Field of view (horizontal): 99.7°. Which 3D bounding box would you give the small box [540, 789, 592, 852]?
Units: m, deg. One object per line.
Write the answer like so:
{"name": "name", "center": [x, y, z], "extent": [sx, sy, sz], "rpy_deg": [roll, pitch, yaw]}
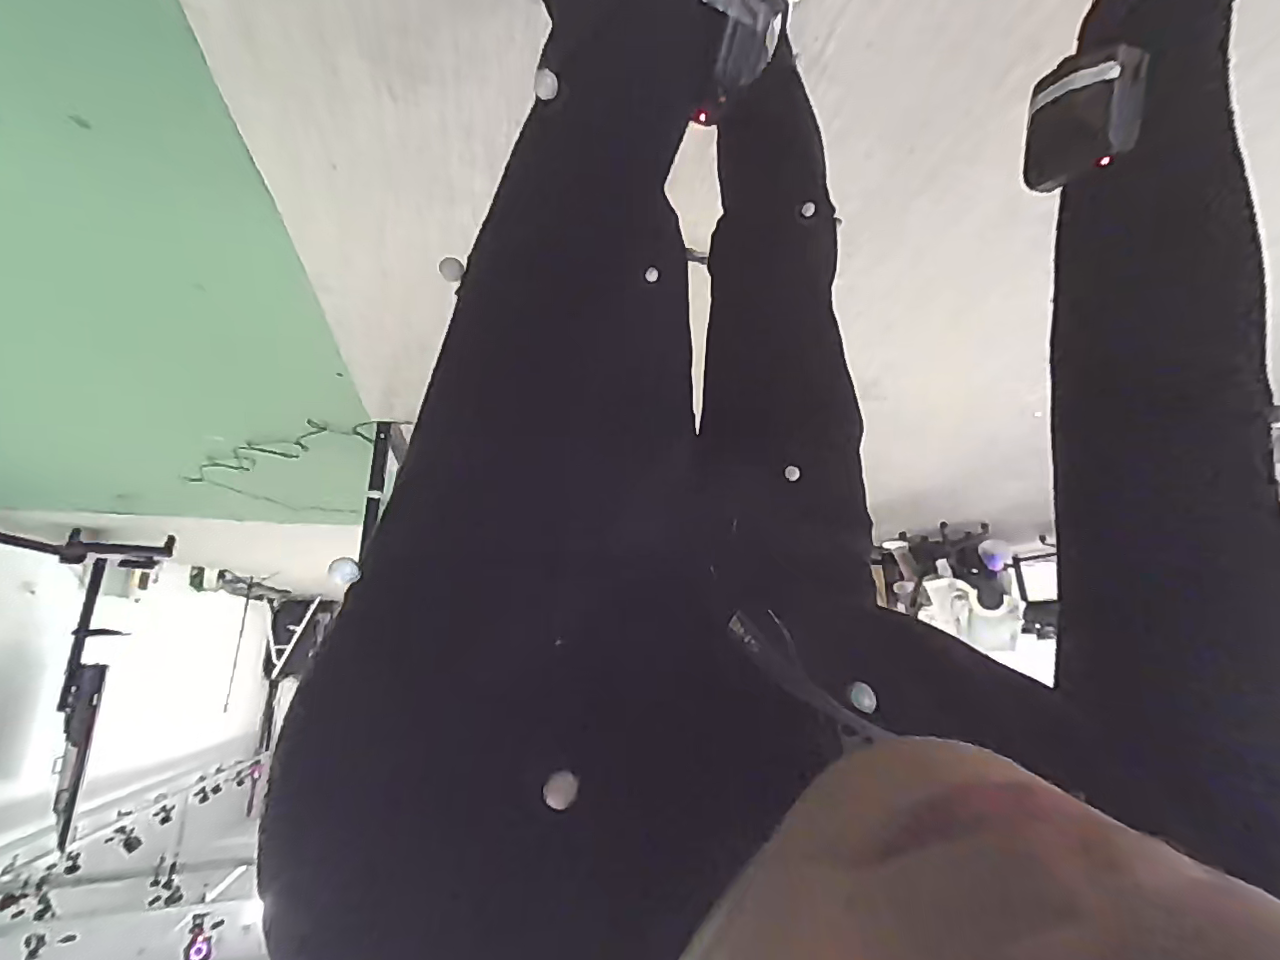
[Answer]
{"name": "small box", "center": [-0.287, 1.314, 2.100], "extent": [0.179, 0.176, 0.168], "rpy_deg": [6, 161, -16]}
